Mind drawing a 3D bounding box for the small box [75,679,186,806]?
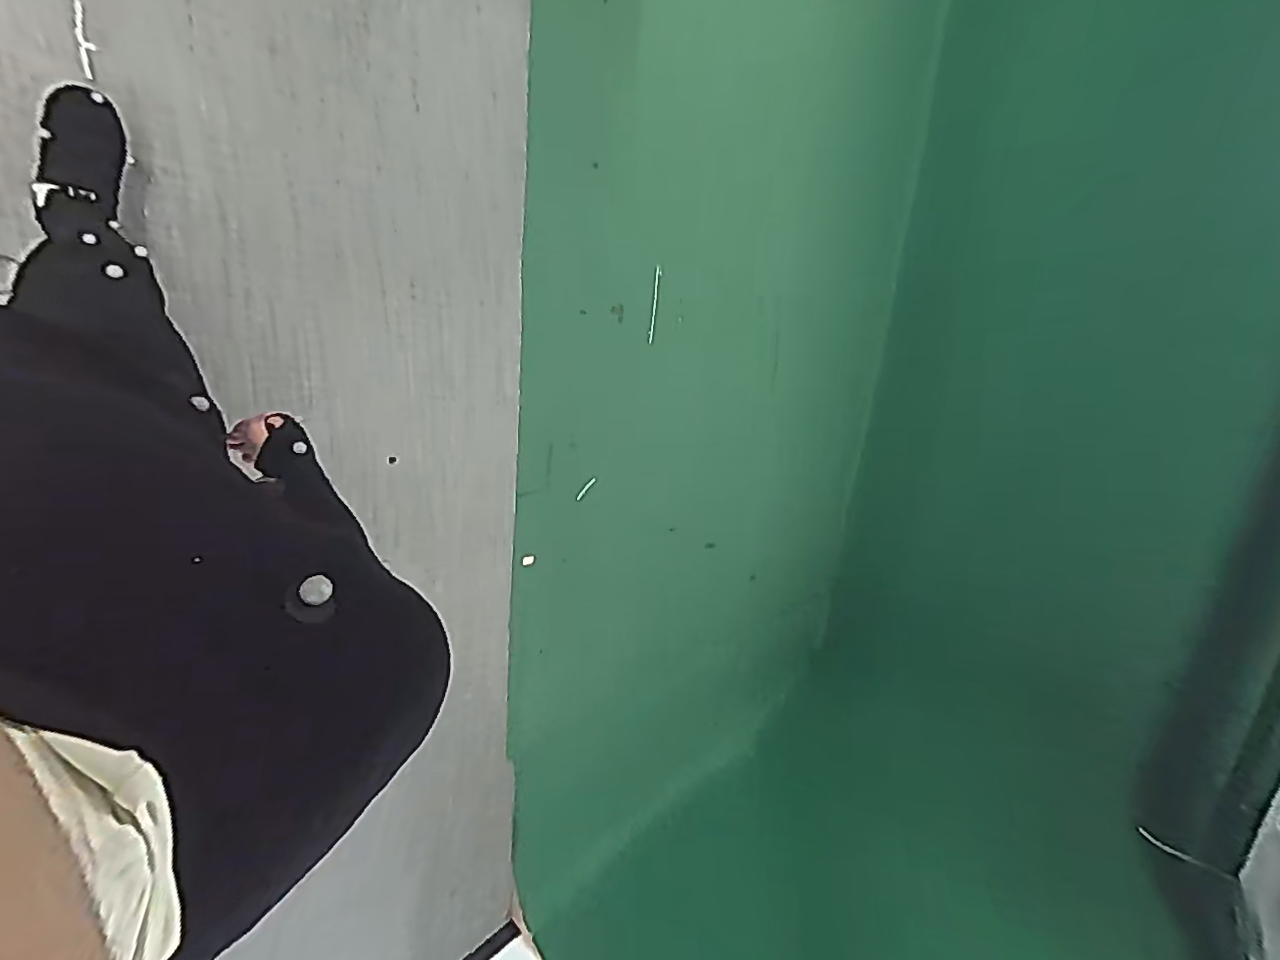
[{"bbox_3d":[-1.145,0.573,1.216,0.168,0.176,0.179,-5,109,-46],"label":"small box"}]
